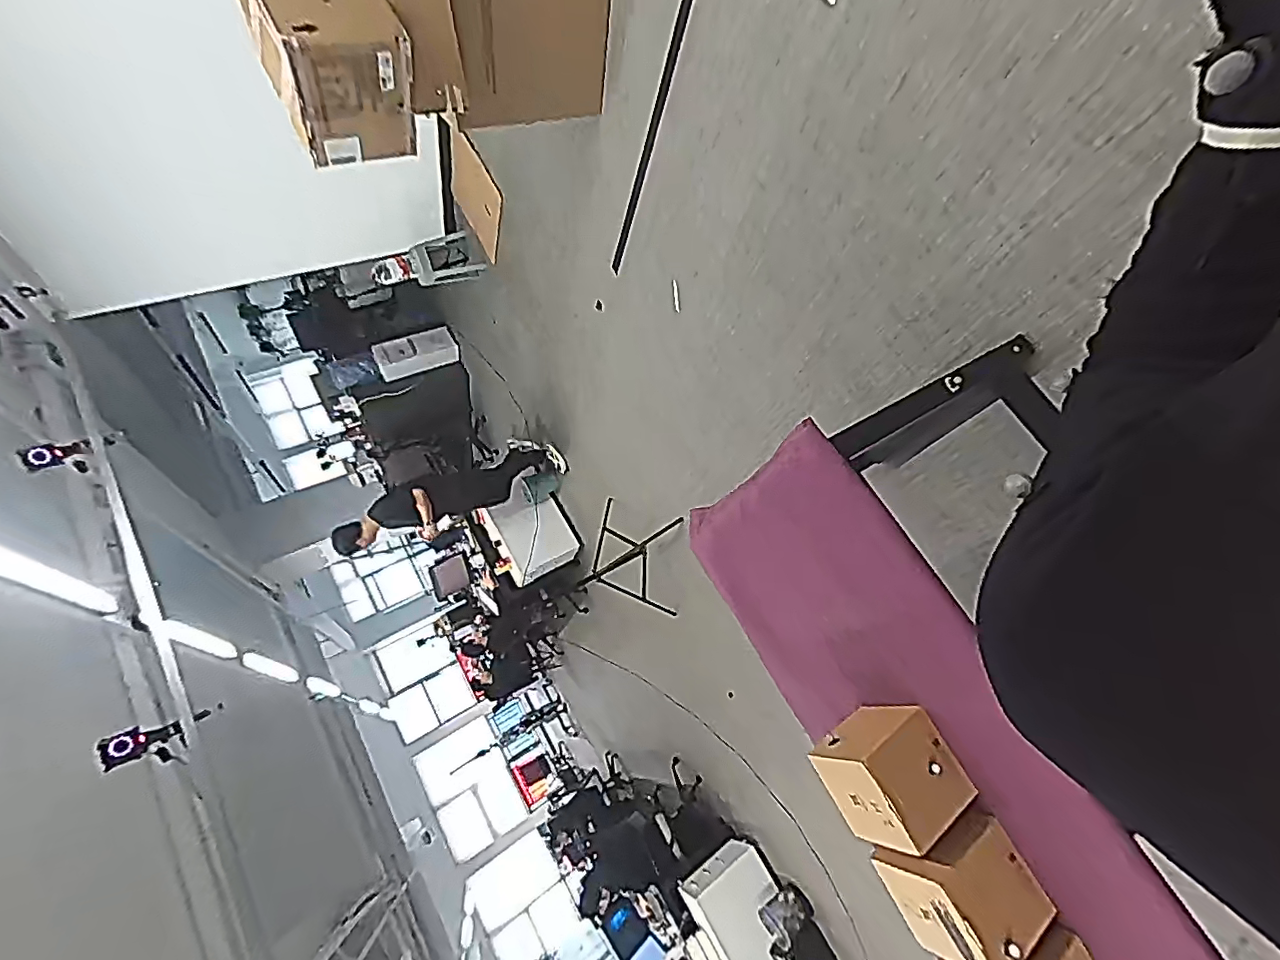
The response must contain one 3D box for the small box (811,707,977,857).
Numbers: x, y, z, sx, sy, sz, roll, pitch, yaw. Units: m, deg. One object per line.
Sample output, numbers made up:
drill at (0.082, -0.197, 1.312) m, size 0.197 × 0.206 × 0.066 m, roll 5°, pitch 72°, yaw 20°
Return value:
small box at (0.459, 0.534, 0.987) m, size 0.168 × 0.176 × 0.179 m, roll 59°, pitch 154°, yaw 12°
